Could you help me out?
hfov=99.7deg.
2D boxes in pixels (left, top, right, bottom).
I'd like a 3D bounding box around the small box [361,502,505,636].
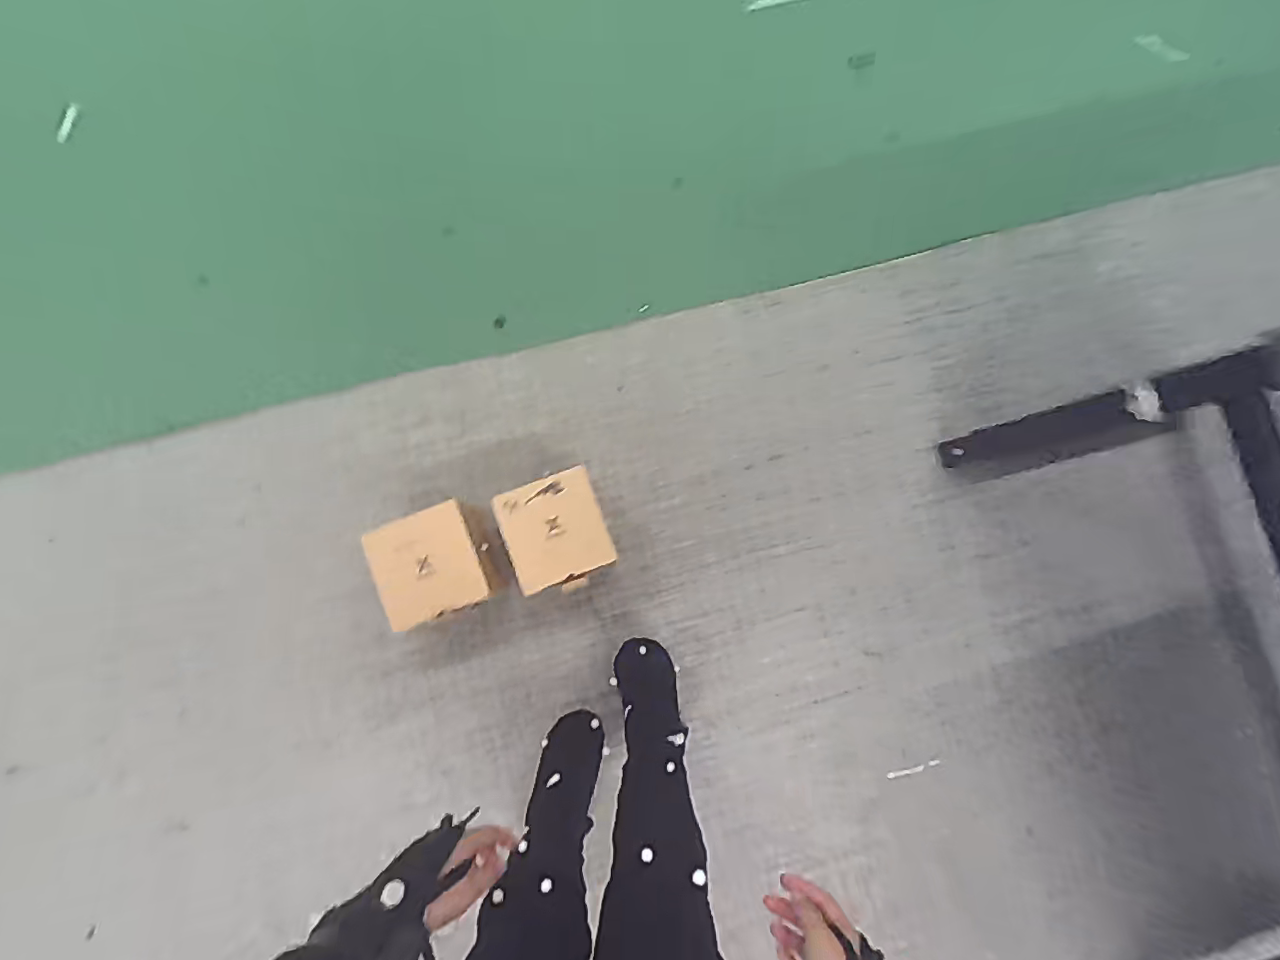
[{"bbox_3d":[-0.356,0.154,0.966,0.168,0.176,0.179,-22,83,-6],"label":"small box"}]
